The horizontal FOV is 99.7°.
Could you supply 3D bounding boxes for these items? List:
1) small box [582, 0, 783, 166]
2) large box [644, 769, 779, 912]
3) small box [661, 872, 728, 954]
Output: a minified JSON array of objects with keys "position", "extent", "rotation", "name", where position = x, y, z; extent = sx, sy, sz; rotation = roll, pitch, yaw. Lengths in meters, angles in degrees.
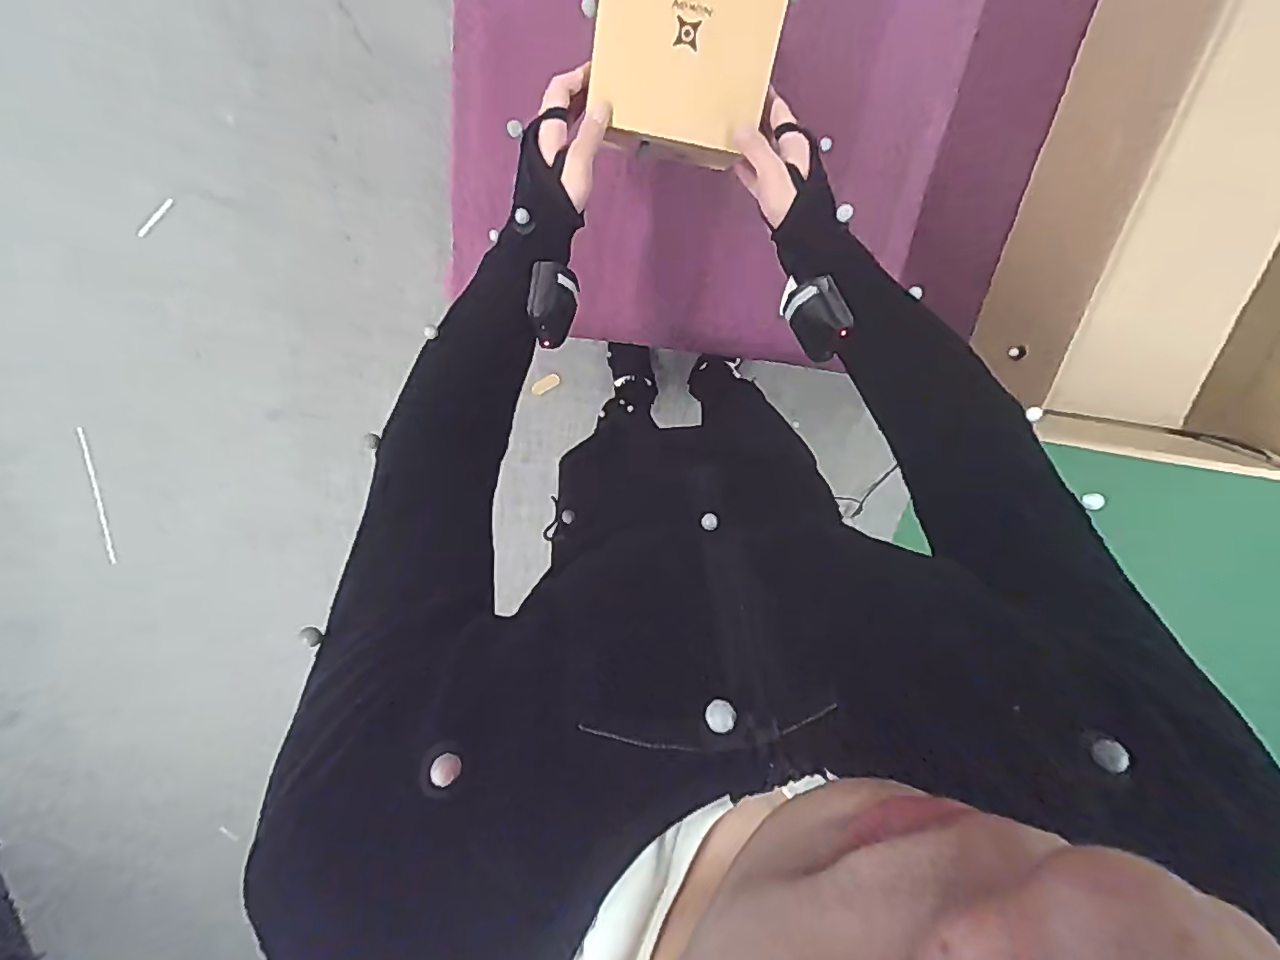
[{"position":[0.039,-0.438,0.552],"extent":[0.168,0.176,0.179],"rotation":[8,114,-5],"name":"small box"},{"position":[0.257,1.384,2.052],"extent":[0.408,0.320,0.320],"rotation":[-23,111,7],"name":"large box"},{"position":[0.180,1.474,1.822],"extent":[0.179,0.176,0.168],"rotation":[-23,110,8],"name":"small box"}]
